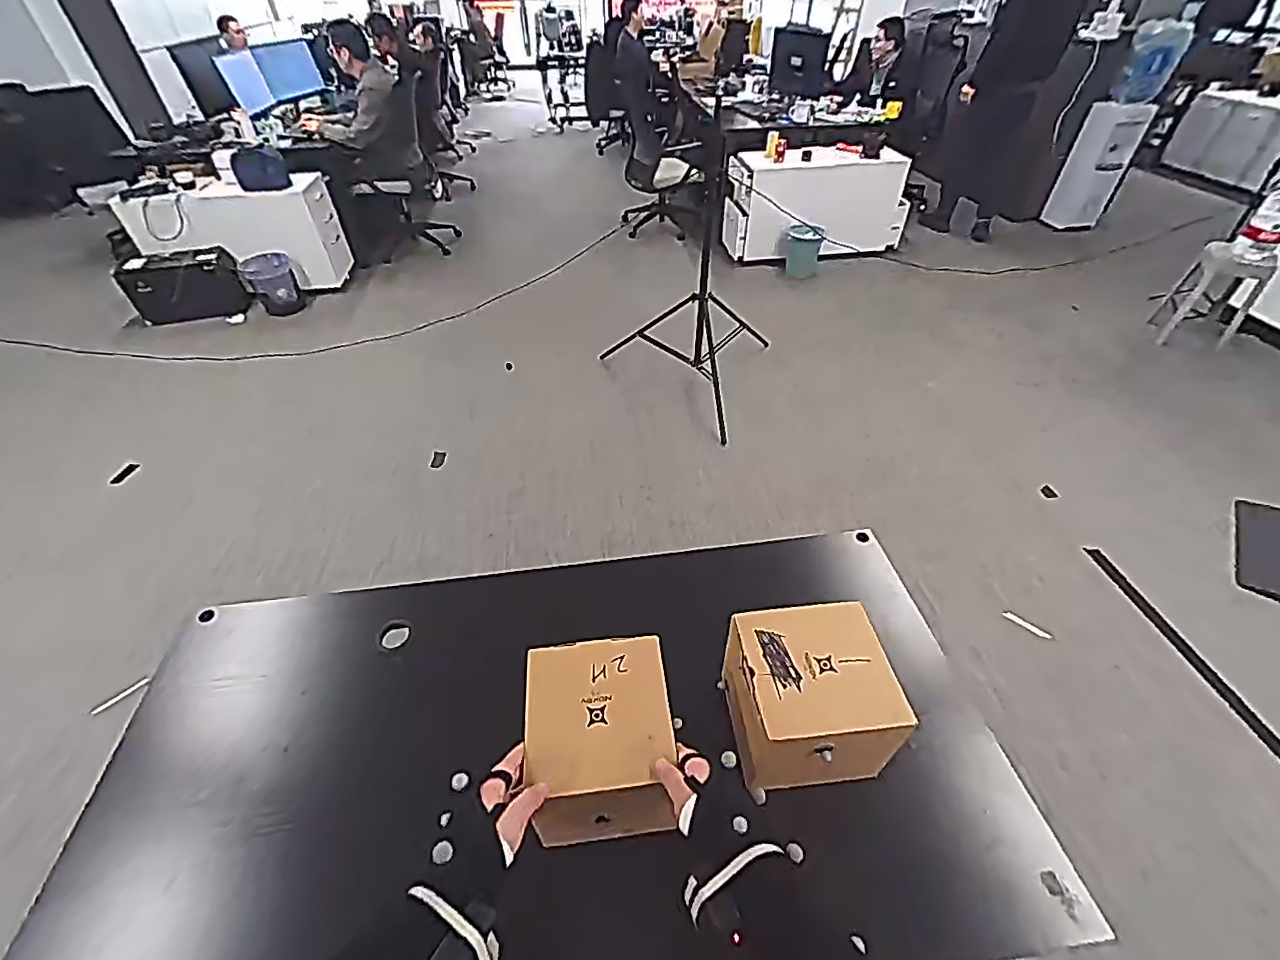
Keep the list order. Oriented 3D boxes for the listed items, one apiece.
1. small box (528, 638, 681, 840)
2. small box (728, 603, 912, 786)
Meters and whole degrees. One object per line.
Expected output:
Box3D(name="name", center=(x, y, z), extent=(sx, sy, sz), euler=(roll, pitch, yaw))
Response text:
Box3D(name="small box", center=(-0.043, 0.328, 0.679), extent=(0.168, 0.176, 0.179), euler=(-6, 41, -5))
Box3D(name="small box", center=(0.219, 0.287, 0.720), extent=(0.179, 0.176, 0.168), euler=(-4, 43, -4))
